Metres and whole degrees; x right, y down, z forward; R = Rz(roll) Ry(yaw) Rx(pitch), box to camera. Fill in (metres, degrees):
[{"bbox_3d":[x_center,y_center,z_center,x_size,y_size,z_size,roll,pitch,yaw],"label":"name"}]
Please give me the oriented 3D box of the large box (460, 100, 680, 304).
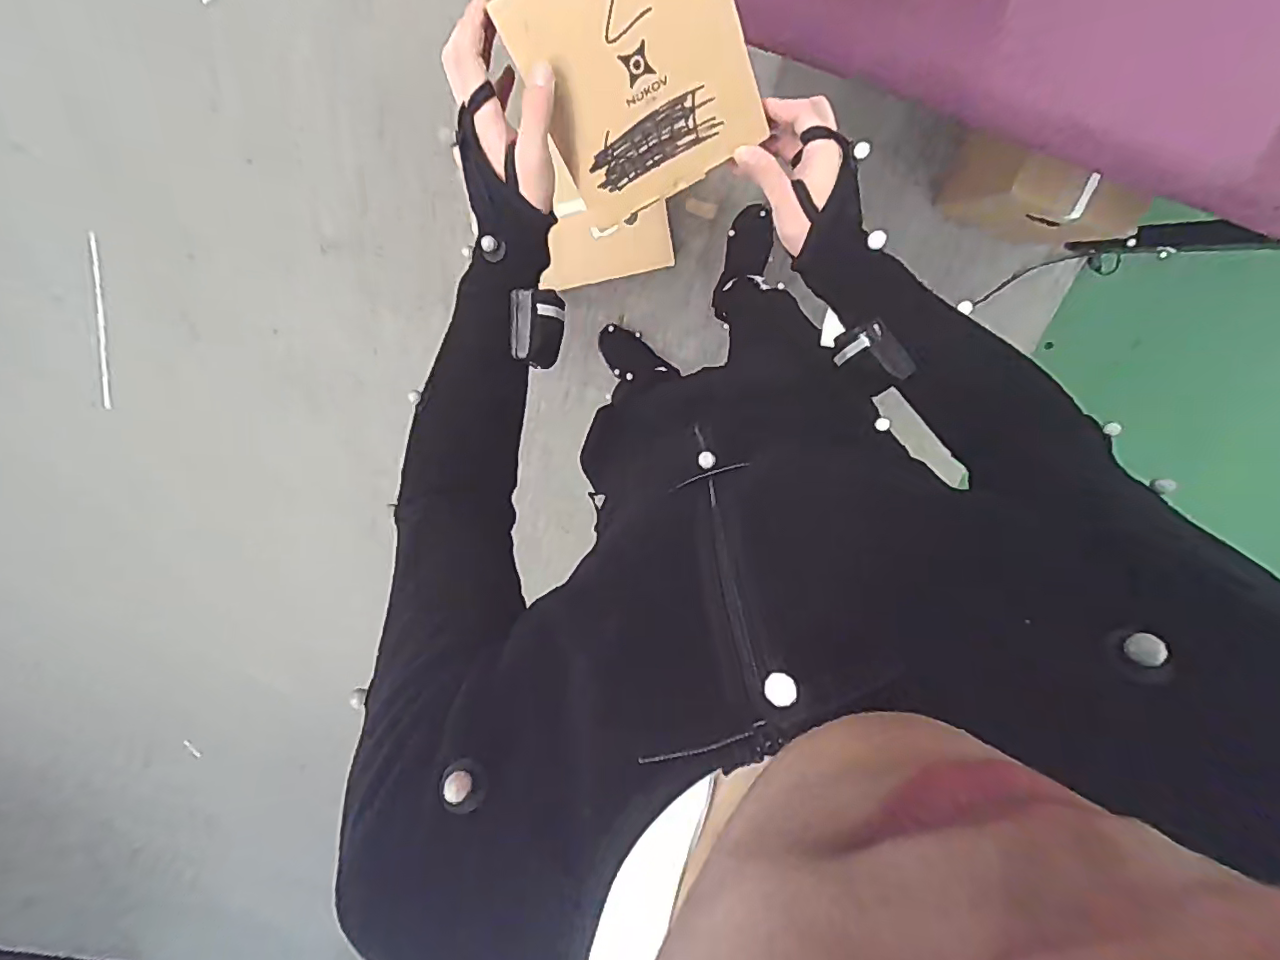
[{"bbox_3d":[-0.144,-0.620,1.263,0.408,0.320,0.320,-12,112,2],"label":"large box"}]
